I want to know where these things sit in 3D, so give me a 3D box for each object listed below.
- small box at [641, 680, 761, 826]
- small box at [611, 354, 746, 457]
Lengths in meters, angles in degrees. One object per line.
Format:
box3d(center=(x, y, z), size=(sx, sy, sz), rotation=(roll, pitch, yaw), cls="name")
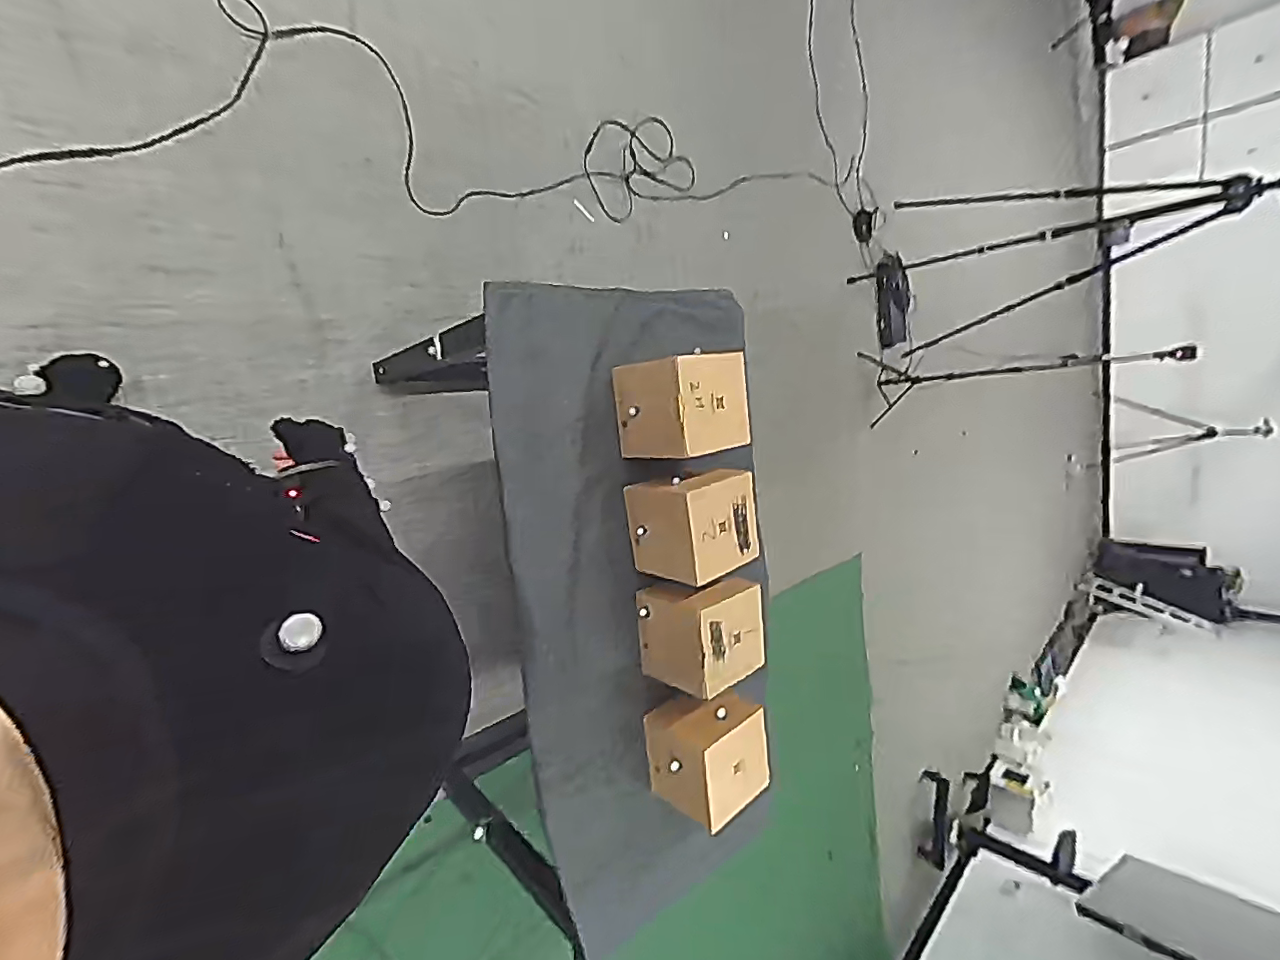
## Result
box3d(center=(0.116, 0.527, 1.072), size=(0.179, 0.176, 0.168), rotation=(-14, 102, -41), cls="small box")
box3d(center=(0.071, -0.138, 0.982), size=(0.179, 0.176, 0.168), rotation=(-14, 102, -40), cls="small box")
